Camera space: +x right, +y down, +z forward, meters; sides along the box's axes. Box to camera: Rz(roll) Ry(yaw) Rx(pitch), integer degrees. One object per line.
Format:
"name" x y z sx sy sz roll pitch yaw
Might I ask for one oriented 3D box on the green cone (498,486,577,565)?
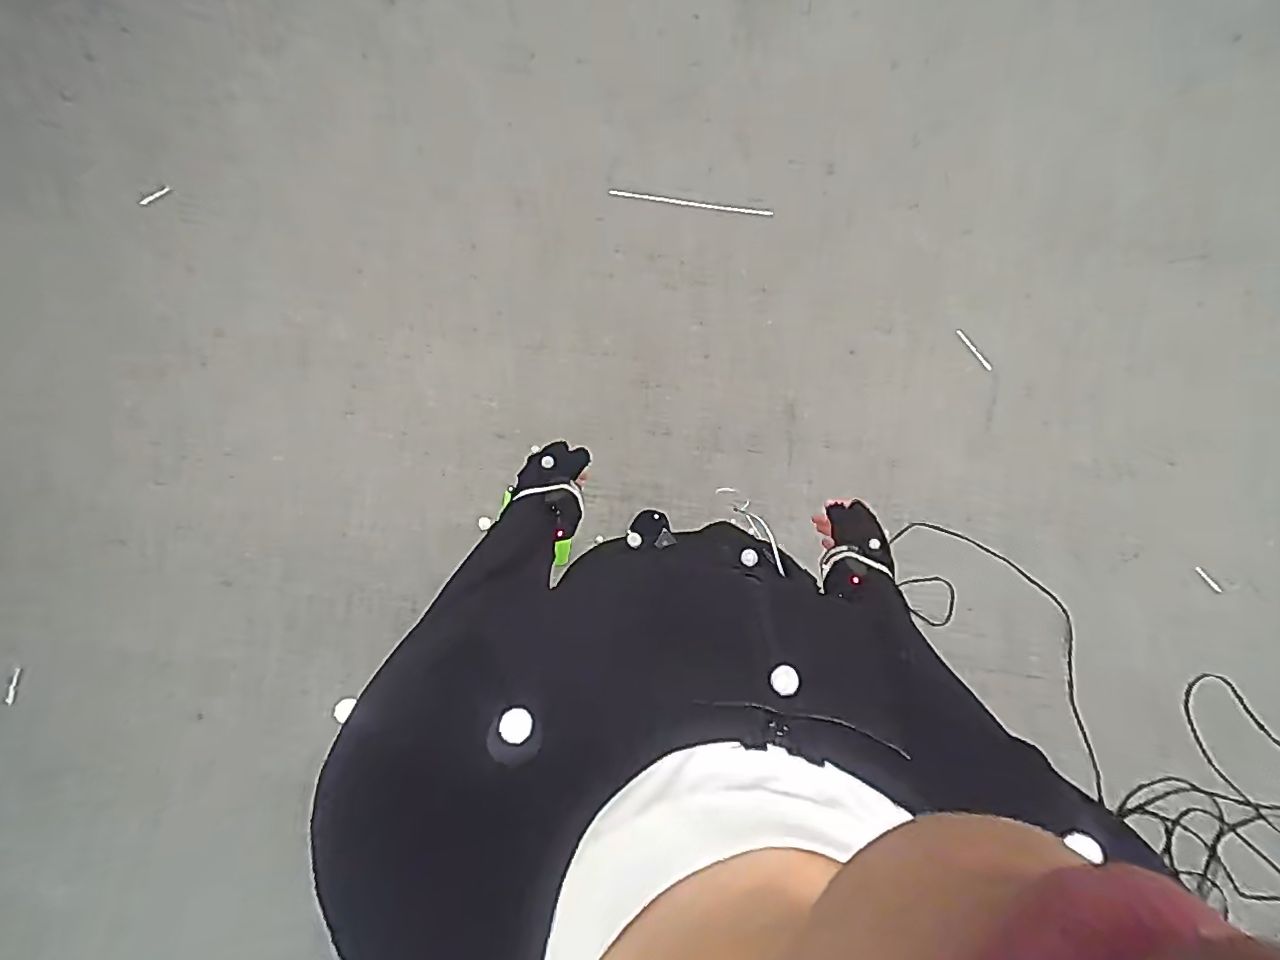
"green cone" -0.277 0.110 1.309 0.202 0.368 0.200 8 85 0
